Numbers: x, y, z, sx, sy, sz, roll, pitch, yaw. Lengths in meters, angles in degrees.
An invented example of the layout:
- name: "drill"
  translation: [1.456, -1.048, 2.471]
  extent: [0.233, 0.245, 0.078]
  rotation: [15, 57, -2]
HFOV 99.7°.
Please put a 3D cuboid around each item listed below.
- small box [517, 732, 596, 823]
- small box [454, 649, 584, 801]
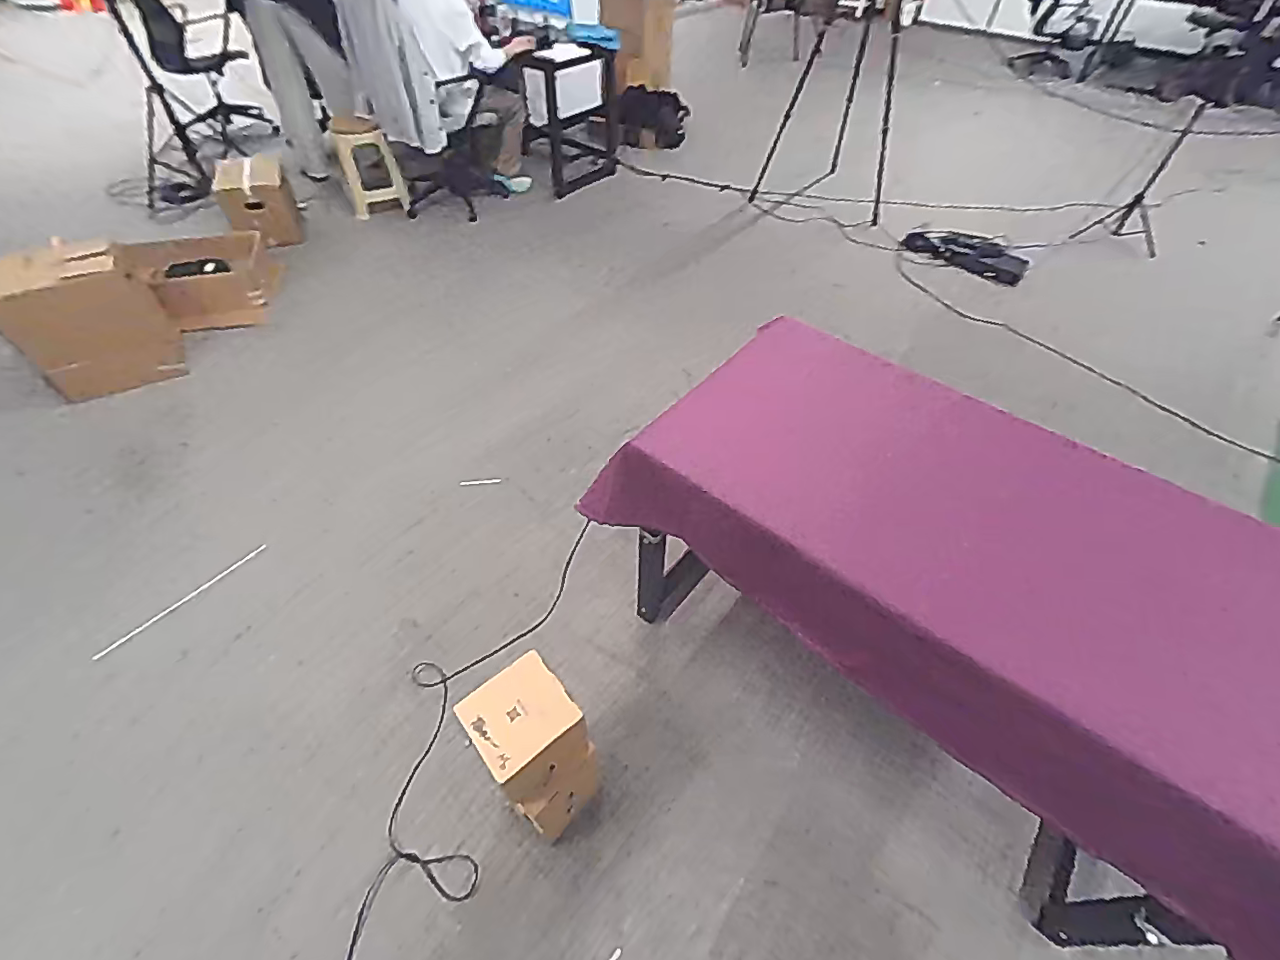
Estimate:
- name: "small box"
  translation: [-0.209, 0.582, 1.137]
  extent: [0.179, 0.176, 0.168]
  rotation: [36, 57, 25]
- name: "small box"
  translation: [-0.221, 0.462, 1.021]
  extent: [0.179, 0.176, 0.168]
  rotation: [-31, 56, -27]
